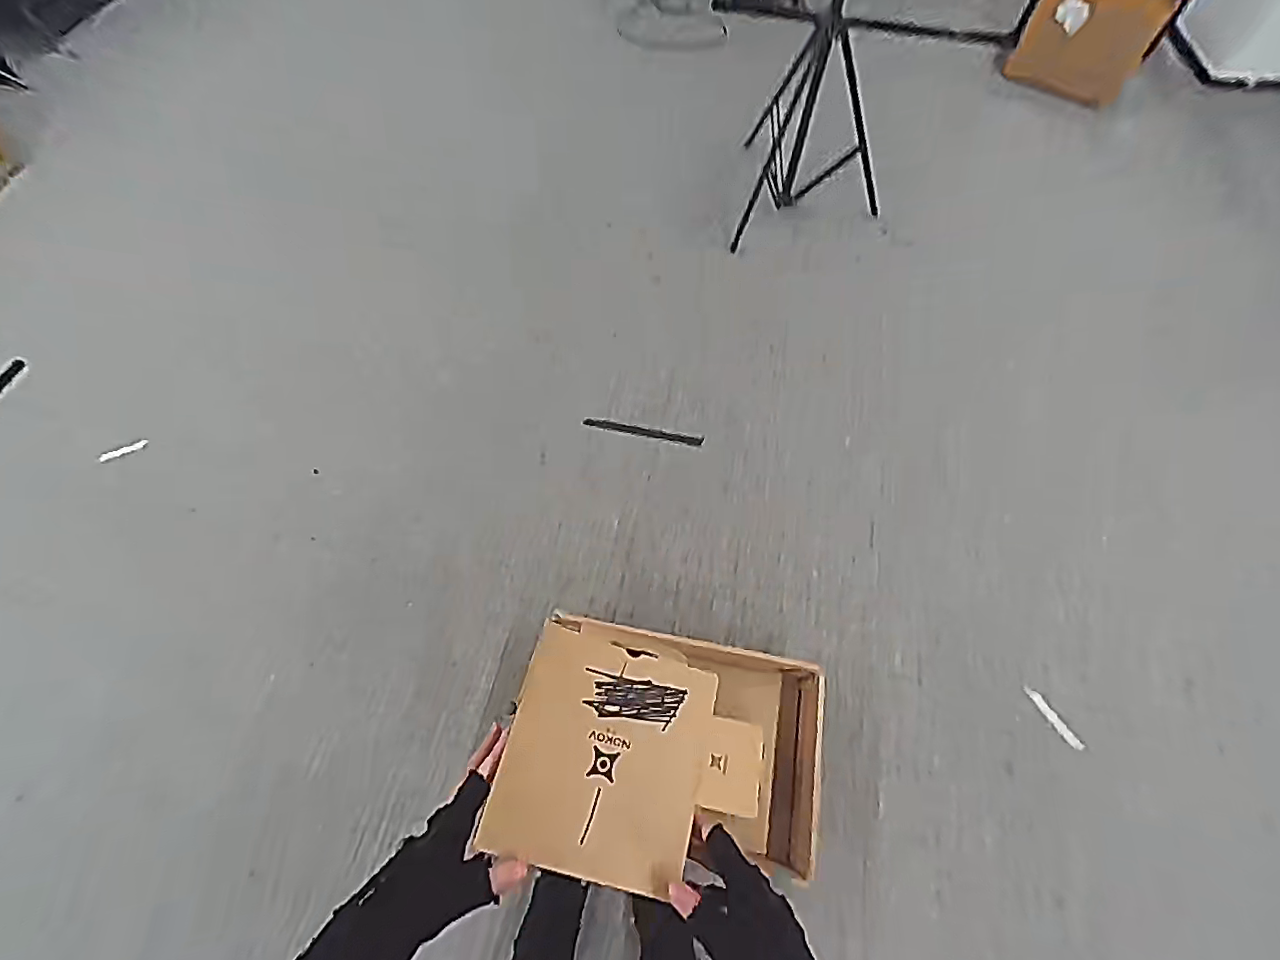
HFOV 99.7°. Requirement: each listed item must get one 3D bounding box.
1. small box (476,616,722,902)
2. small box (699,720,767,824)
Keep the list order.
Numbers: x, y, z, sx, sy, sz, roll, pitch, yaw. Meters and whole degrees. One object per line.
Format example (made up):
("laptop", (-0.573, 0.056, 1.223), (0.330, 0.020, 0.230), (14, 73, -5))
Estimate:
("small box", (-0.041, 0.248, 0.507), (0.168, 0.176, 0.179), (18, 64, -4))
("small box", (0.156, 0.596, 1.128), (0.179, 0.176, 0.168), (9, 63, 6))
